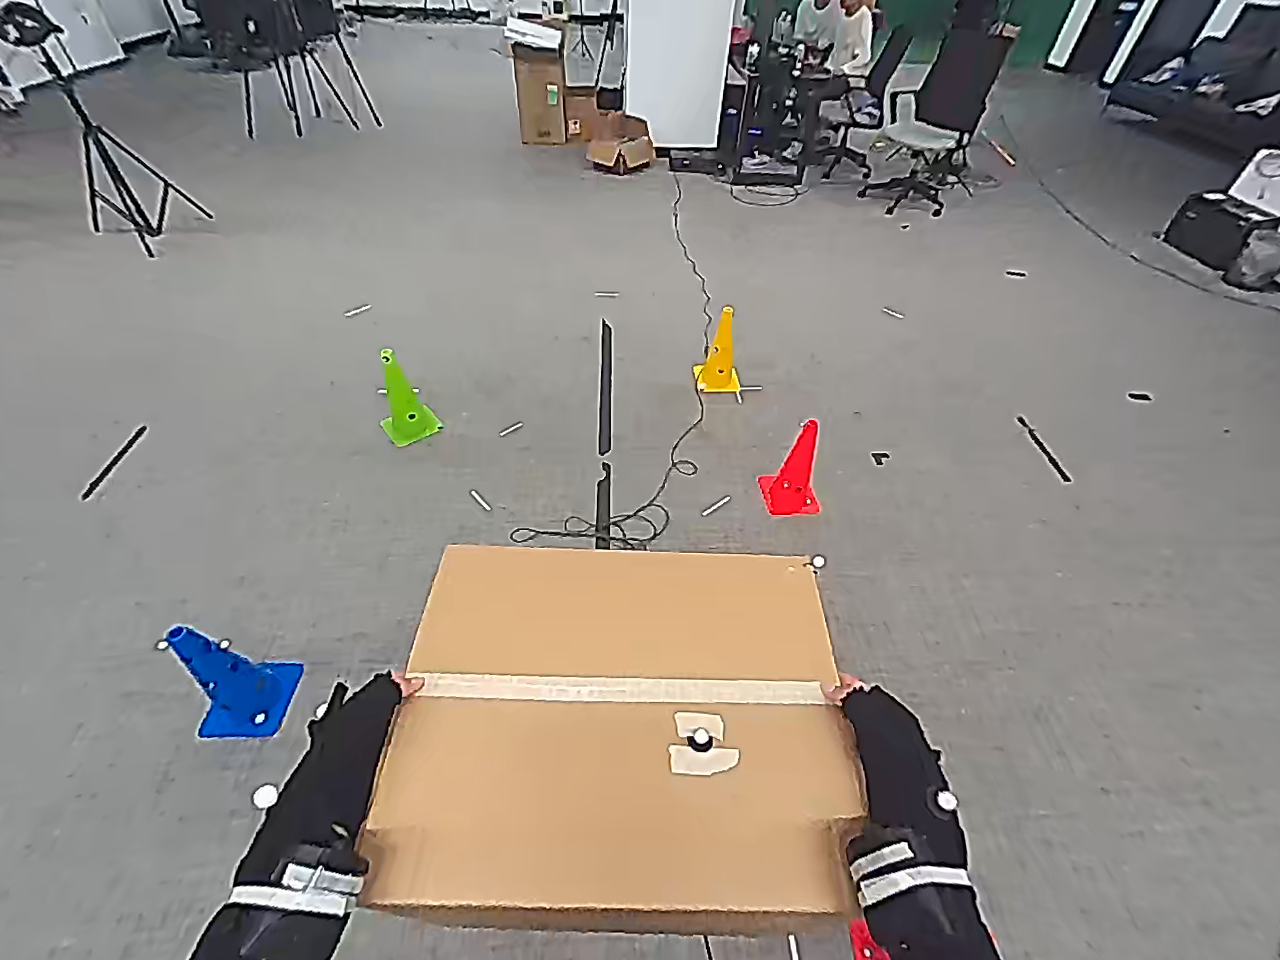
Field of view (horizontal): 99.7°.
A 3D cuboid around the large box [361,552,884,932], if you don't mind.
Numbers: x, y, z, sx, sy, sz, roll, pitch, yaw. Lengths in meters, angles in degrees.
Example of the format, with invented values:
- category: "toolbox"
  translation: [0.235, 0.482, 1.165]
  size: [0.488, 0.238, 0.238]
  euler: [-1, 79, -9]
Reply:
- category: "large box"
  translation: [-0.018, 0.299, 0.612]
  size: [0.408, 0.320, 0.320]
  euler: [3, 48, -2]

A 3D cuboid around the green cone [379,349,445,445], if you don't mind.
- category: "green cone"
  translation: [-0.932, -0.349, 2.106]
  size: [0.202, 0.368, 0.200]
  euler: [-31, 54, -27]

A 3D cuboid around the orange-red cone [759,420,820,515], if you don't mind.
- category: "orange-red cone"
  translation: [0.567, -0.065, 1.912]
  size: [0.198, 0.360, 0.199]
  euler: [-1, 45, -6]

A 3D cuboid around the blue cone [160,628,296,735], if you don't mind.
- category: "blue cone"
  translation: [-1.039, 0.472, 1.333]
  size: [0.192, 0.380, 0.193]
  euler: [1, 46, 0]

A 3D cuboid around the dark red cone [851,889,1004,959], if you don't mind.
- category: "dark red cone"
  translation: [0.551, 0.854, 0.992]
  size: [0.201, 0.394, 0.202]
  euler: [3, 46, 2]
